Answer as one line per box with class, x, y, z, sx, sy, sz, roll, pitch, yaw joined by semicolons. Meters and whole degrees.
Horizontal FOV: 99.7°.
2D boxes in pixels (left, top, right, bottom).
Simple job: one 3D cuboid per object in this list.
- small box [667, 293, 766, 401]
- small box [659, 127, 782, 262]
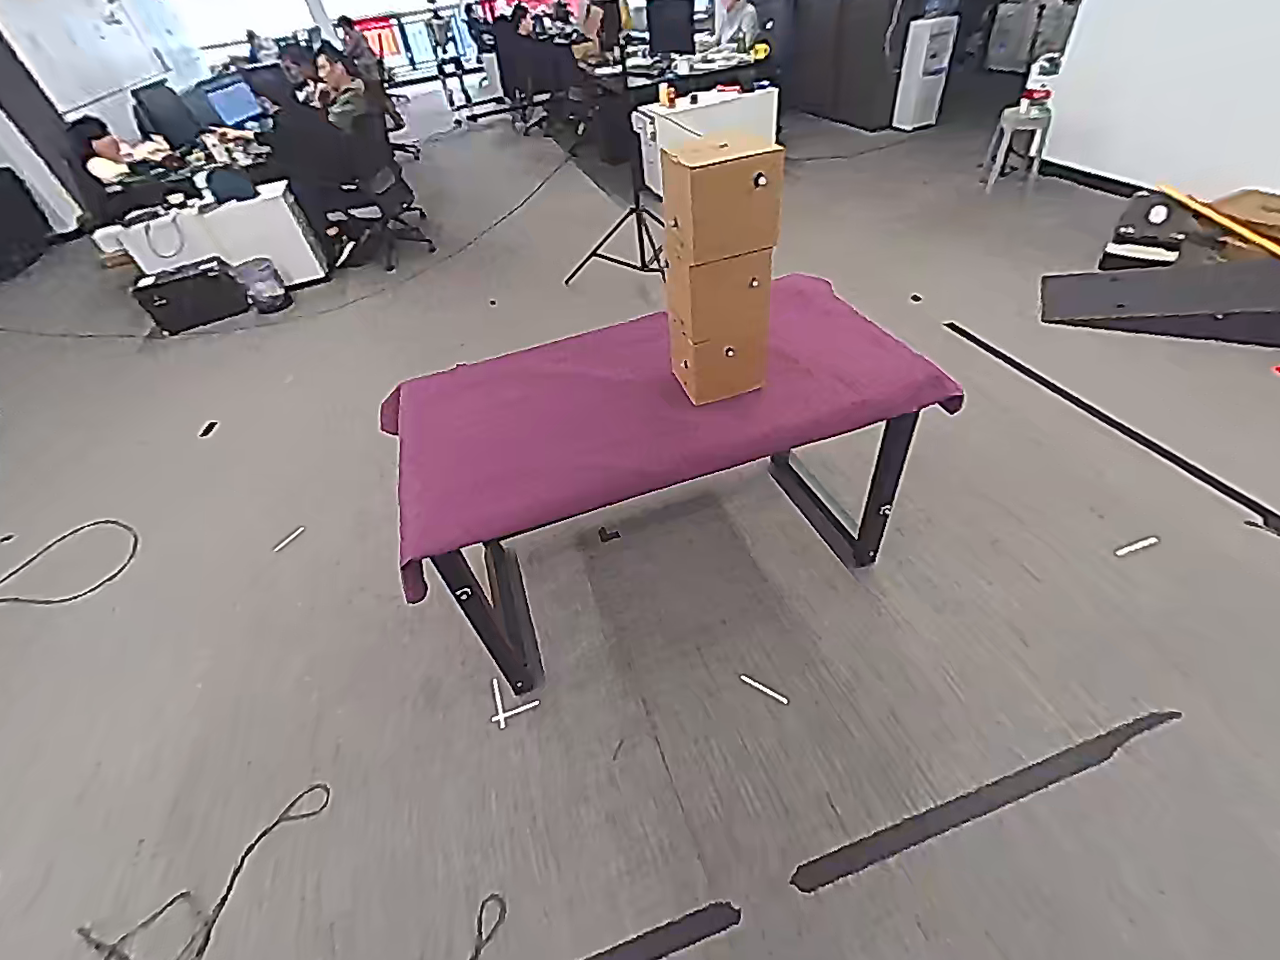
small box;0.176;-0.304;1.252;0.179;0.176;0.168;-16;45;-8
small box;0.147;-0.537;1.020;0.179;0.176;0.168;-17;45;-7
